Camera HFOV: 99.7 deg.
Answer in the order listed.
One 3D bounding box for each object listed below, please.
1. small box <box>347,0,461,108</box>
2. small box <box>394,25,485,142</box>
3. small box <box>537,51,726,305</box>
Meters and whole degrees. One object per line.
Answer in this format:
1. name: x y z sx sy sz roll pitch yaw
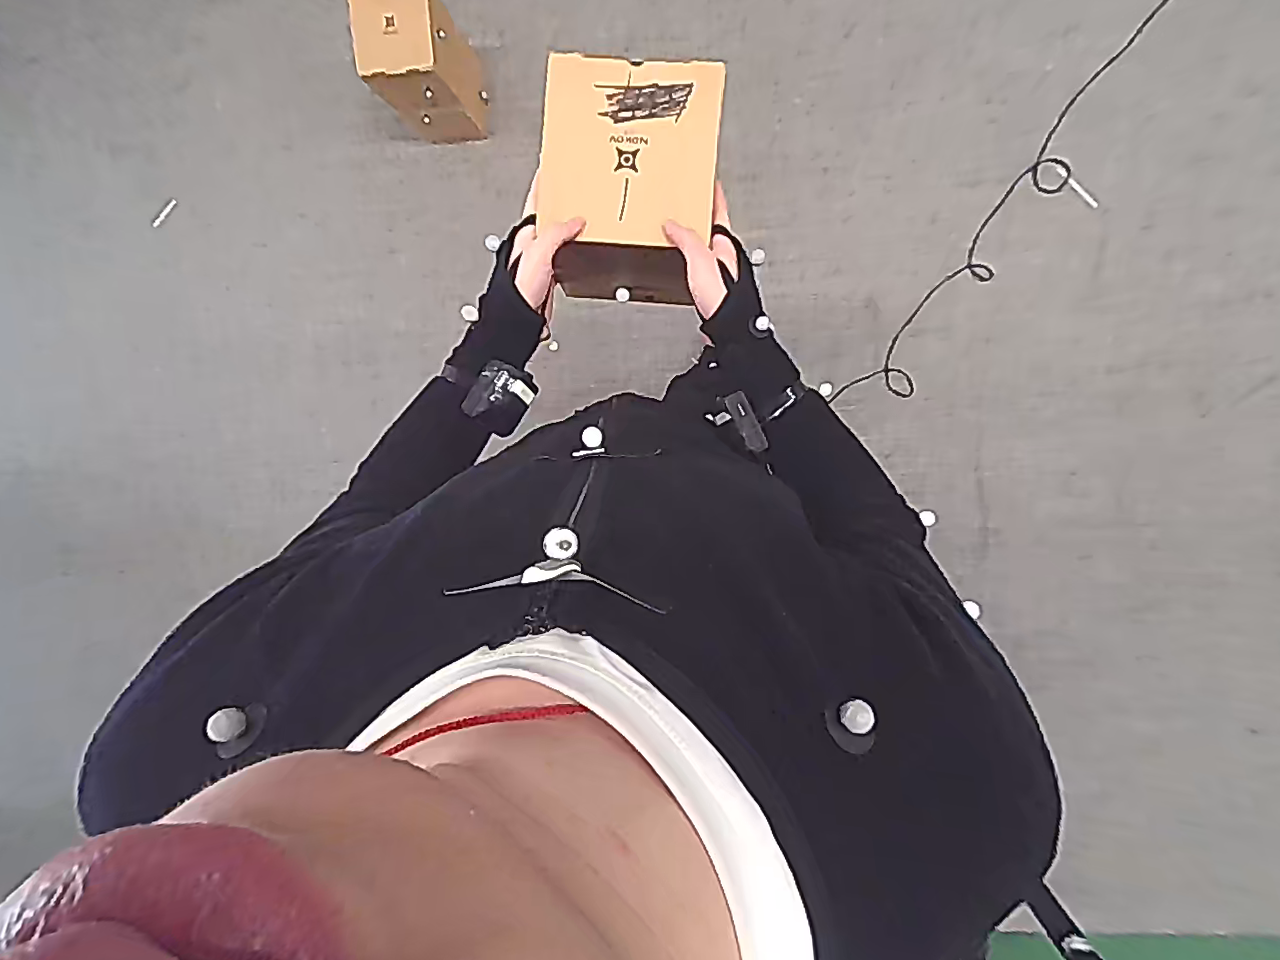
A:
1. small box: -0.501 -0.934 1.167 0.168 0.176 0.179 -3 99 3
2. small box: -0.490 -0.963 1.326 0.168 0.176 0.179 0 100 4
3. small box: -0.006 -0.308 0.583 0.168 0.176 0.179 5 90 3
